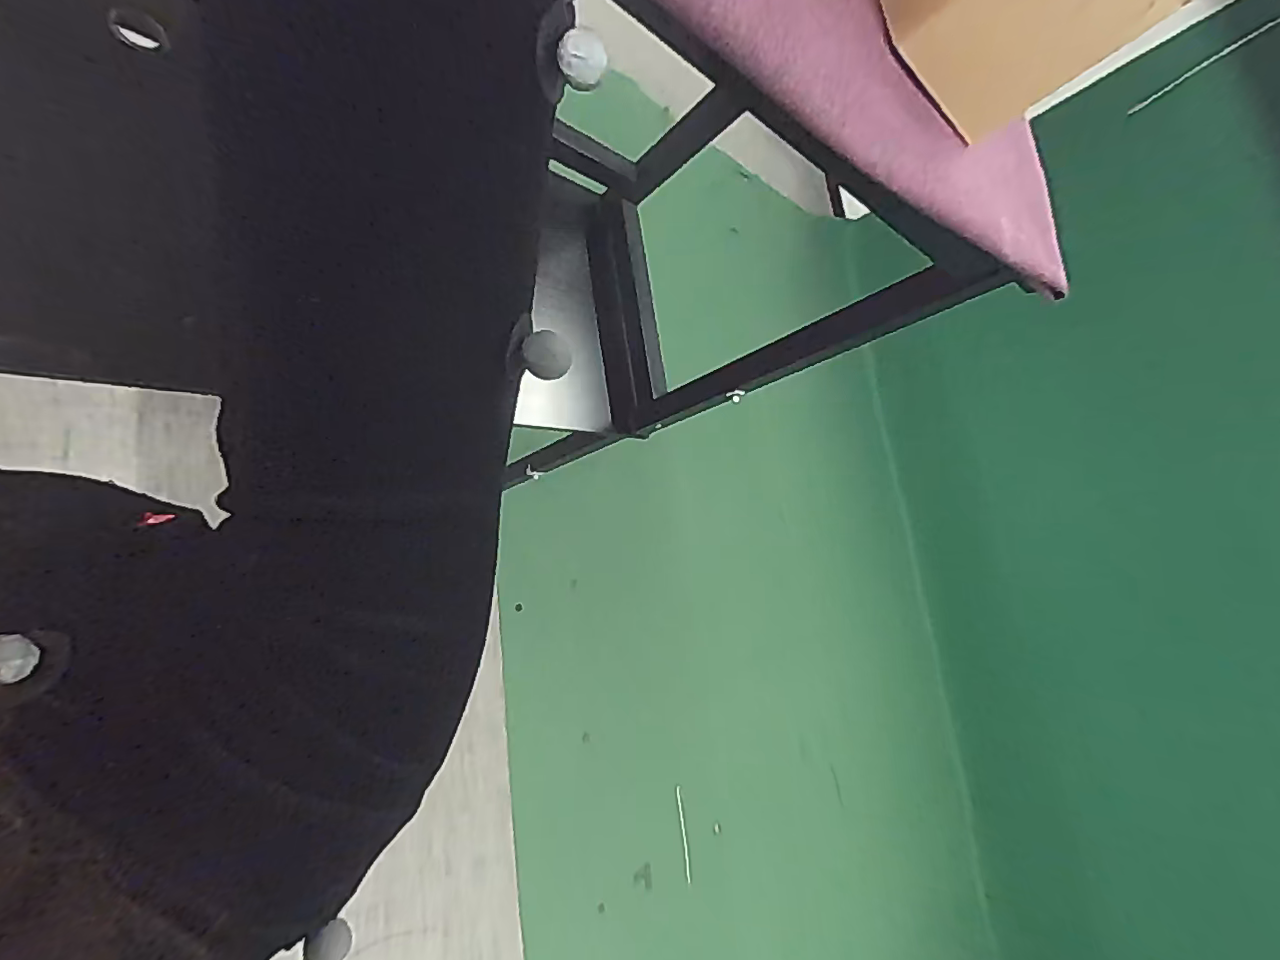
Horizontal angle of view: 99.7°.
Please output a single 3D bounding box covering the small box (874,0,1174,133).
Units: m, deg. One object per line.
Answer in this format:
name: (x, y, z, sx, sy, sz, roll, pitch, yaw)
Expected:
small box: (0.297, -0.434, 0.440, 0.179, 0.176, 0.168, 4, 73, -42)
